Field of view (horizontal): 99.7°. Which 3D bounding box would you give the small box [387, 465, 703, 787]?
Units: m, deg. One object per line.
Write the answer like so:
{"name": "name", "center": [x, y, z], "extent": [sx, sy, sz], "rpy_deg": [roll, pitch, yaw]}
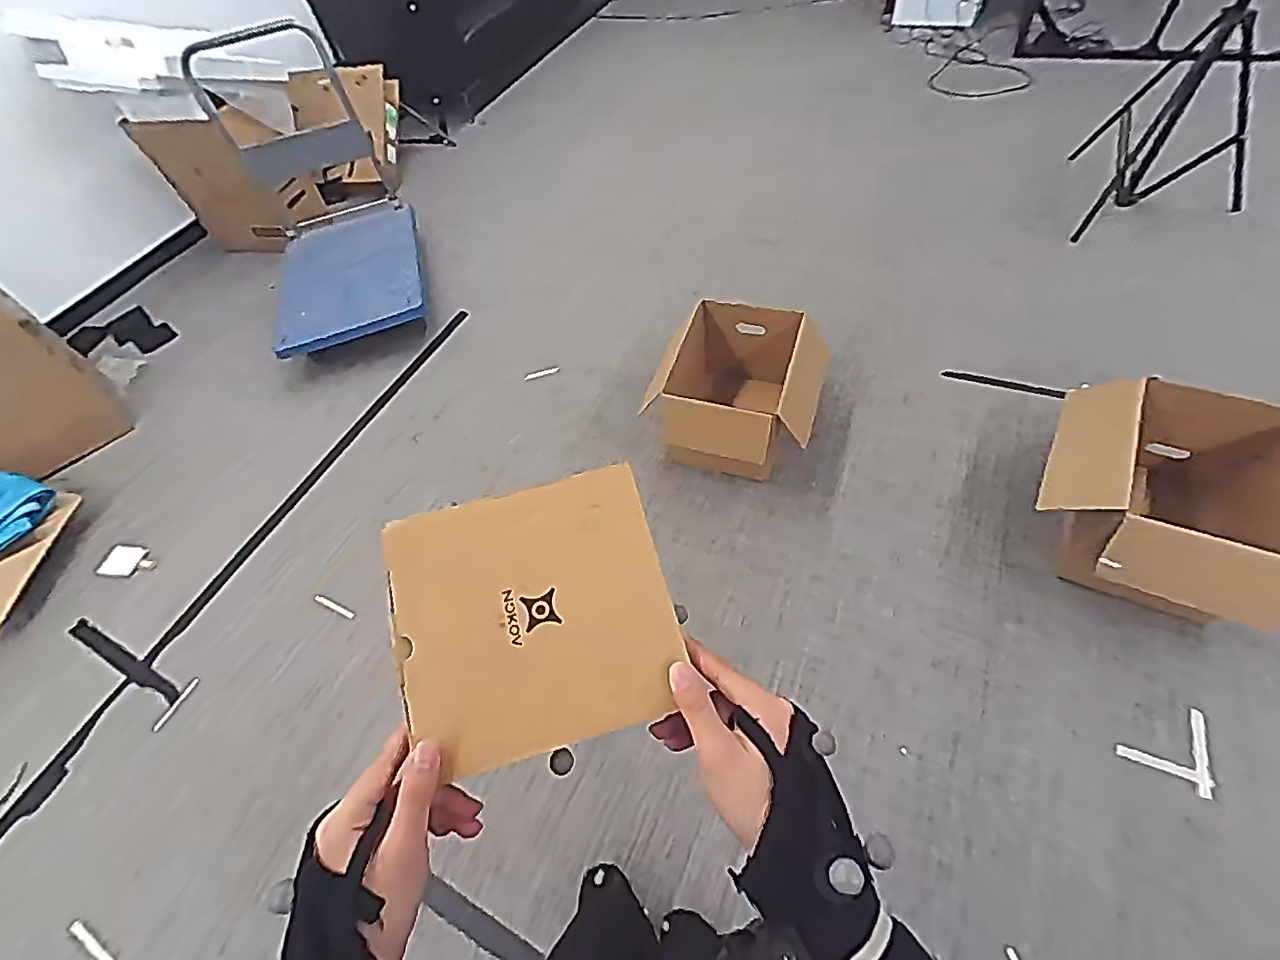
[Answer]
{"name": "small box", "center": [-0.066, 0.109, 0.420], "extent": [0.179, 0.176, 0.168], "rpy_deg": [-15, 71, -5]}
